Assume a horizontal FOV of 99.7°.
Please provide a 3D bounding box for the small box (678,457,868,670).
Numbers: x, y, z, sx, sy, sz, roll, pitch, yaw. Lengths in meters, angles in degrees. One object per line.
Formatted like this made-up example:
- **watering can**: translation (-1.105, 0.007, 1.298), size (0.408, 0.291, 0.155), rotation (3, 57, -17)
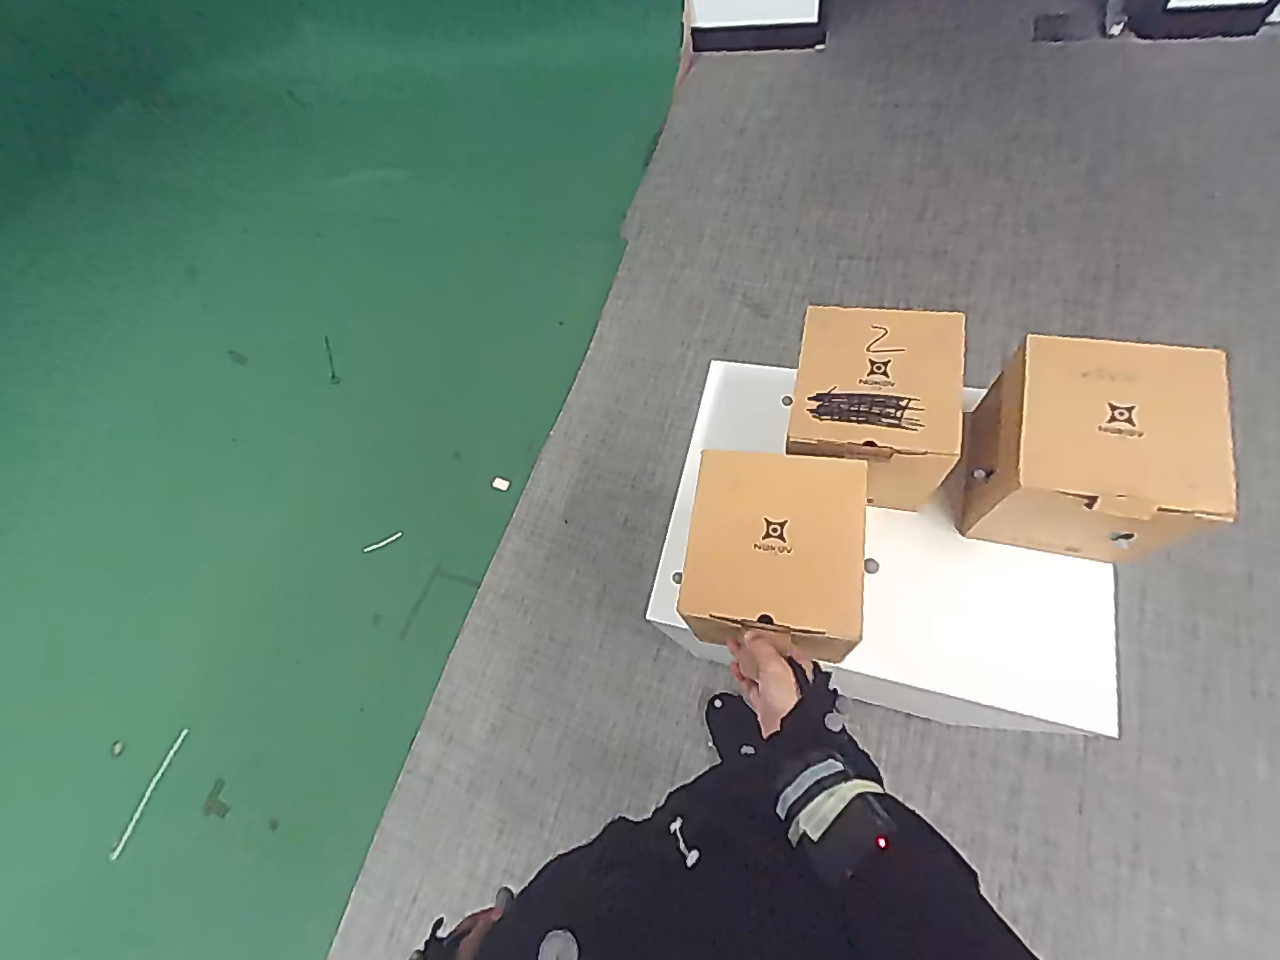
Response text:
- **small box**: translation (0.144, 0.095, 0.586), size (0.168, 0.176, 0.179), rotation (5, 67, 15)

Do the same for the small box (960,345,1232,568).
- **small box**: translation (0.462, -0.018, 0.579), size (0.168, 0.176, 0.179), rotation (10, 69, 16)
